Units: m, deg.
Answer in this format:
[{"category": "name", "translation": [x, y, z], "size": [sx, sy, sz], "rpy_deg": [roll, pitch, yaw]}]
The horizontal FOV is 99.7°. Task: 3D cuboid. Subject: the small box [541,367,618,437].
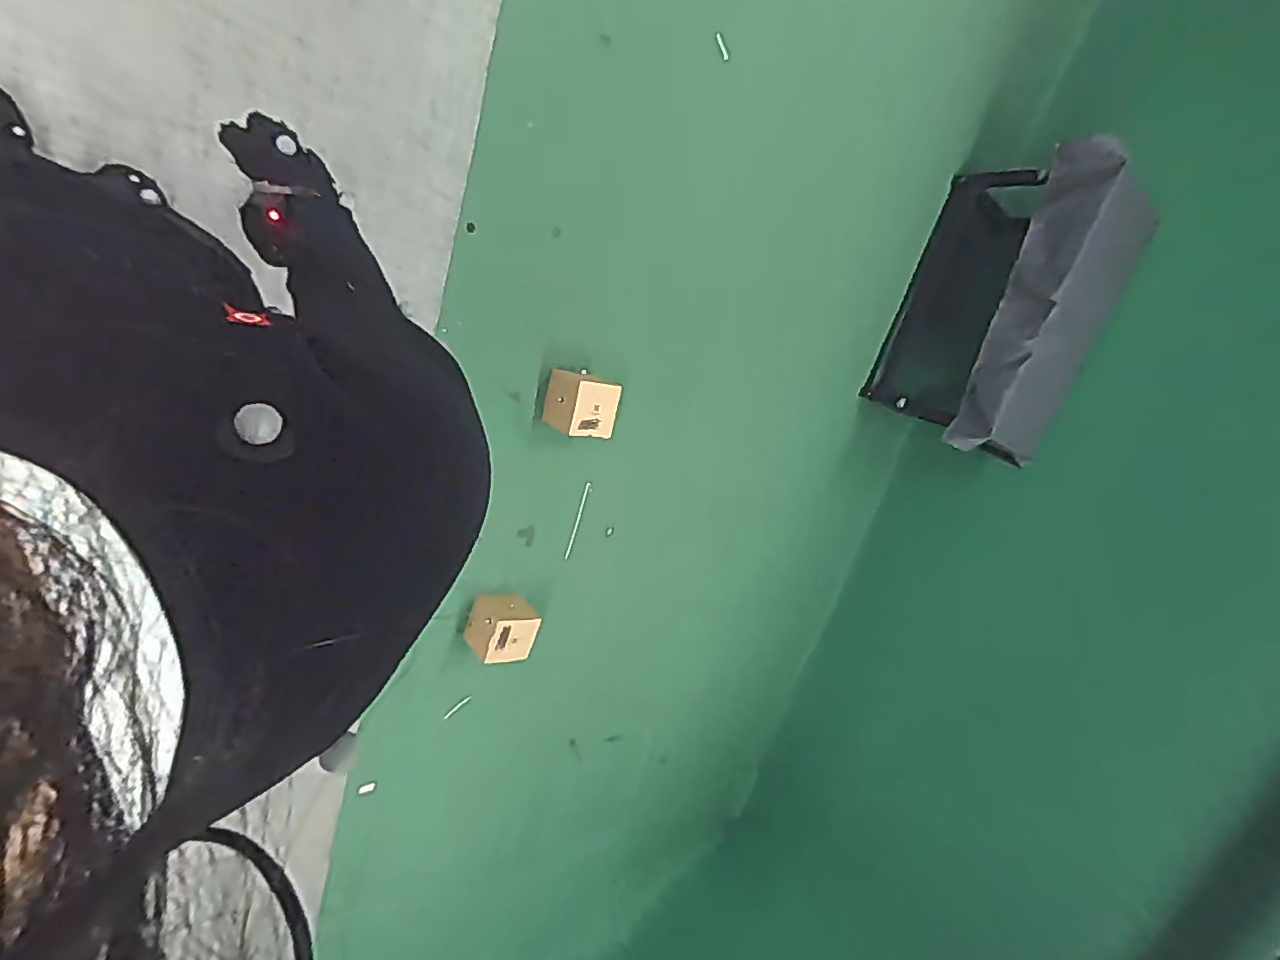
[{"category": "small box", "translation": [-0.199, -0.251, 1.733], "size": [0.168, 0.176, 0.179], "rpy_deg": [0, 111, -43]}]
